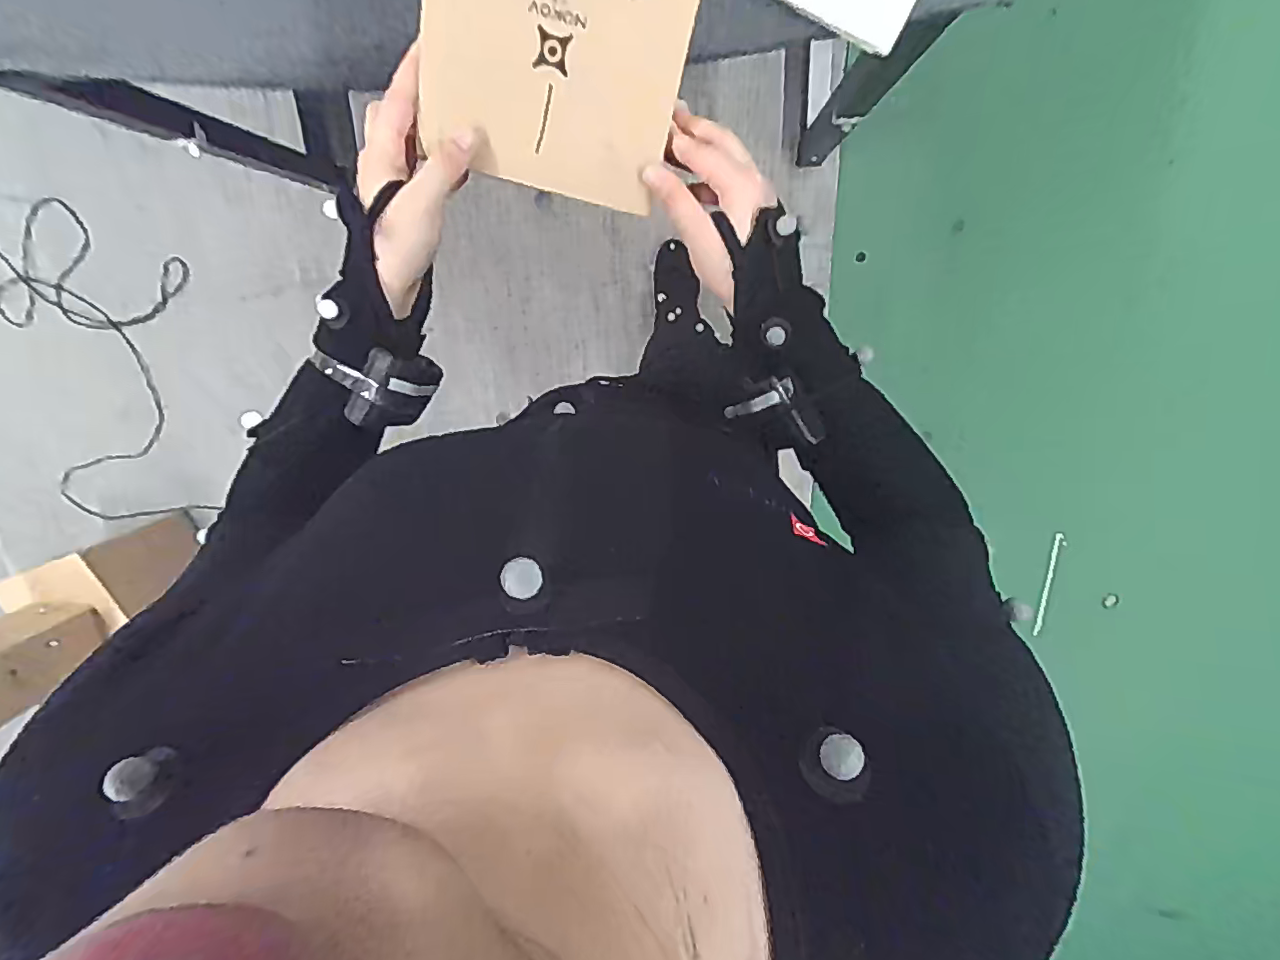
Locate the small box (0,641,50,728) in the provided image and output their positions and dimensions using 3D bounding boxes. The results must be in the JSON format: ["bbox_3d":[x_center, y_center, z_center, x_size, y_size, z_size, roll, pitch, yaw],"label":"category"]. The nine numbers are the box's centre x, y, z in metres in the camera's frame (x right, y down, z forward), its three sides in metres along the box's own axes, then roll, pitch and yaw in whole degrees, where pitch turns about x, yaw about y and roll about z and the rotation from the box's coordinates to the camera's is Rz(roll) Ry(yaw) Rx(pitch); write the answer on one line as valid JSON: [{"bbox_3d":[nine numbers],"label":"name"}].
[{"bbox_3d":[-1.485,0.469,1.189,0.179,0.176,0.168,2,109,6],"label":"small box"}]

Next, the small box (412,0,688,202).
[{"bbox_3d":[-0.059,-0.327,0.411,0.168,0.176,0.179,11,117,-7],"label":"small box"}]
